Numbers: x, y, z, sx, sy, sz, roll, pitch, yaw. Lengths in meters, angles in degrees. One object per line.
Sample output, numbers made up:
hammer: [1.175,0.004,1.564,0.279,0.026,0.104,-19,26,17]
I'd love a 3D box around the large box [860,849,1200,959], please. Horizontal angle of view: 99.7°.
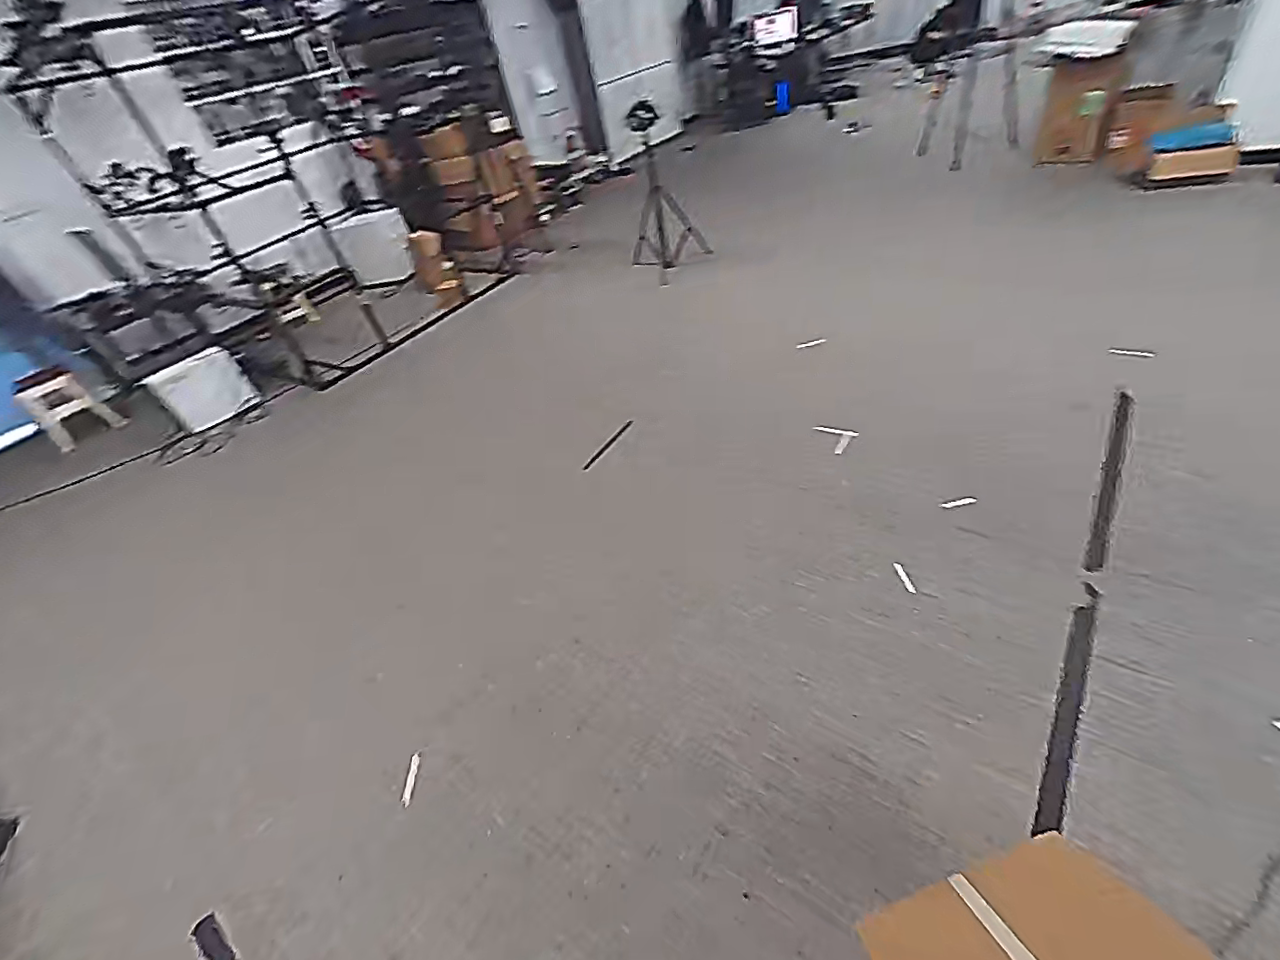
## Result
large box: [0.491,0.686,0.533,0.320,0.320,0.408,-25,-3,0]
